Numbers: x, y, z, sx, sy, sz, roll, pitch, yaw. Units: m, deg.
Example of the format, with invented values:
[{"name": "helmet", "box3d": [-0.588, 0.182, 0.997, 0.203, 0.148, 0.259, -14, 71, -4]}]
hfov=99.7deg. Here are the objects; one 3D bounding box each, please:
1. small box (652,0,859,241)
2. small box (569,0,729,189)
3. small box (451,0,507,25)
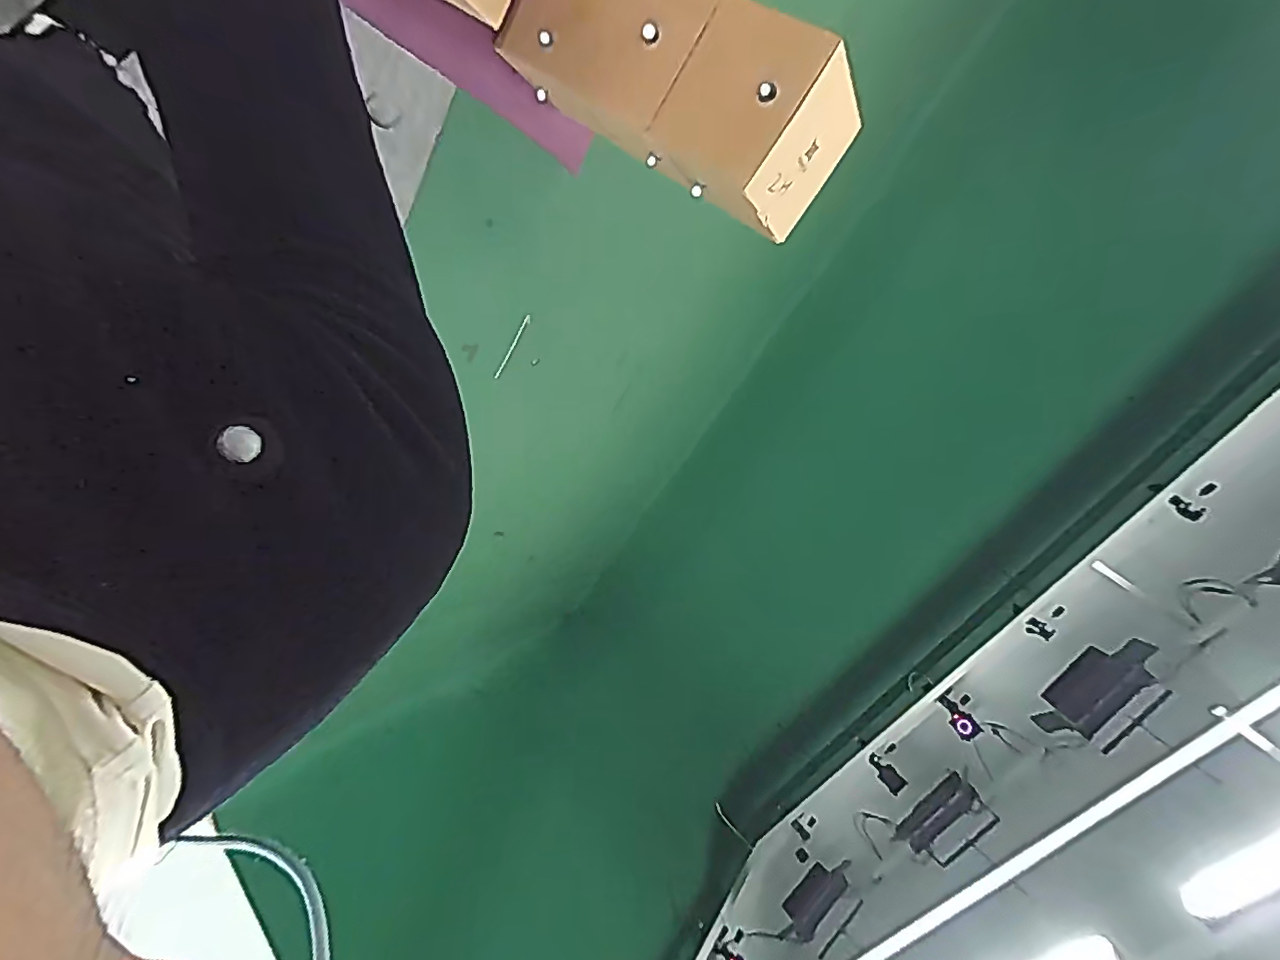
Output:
[{"name": "small box", "box3d": [0.147, -0.453, 0.694, 0.179, 0.176, 0.168, -54, 157, 18]}, {"name": "small box", "box3d": [0.033, -0.555, 0.754, 0.179, 0.176, 0.168, -56, 156, 18]}, {"name": "small box", "box3d": [-0.223, -0.648, 0.569, 0.179, 0.176, 0.168, -57, 156, 20]}]
